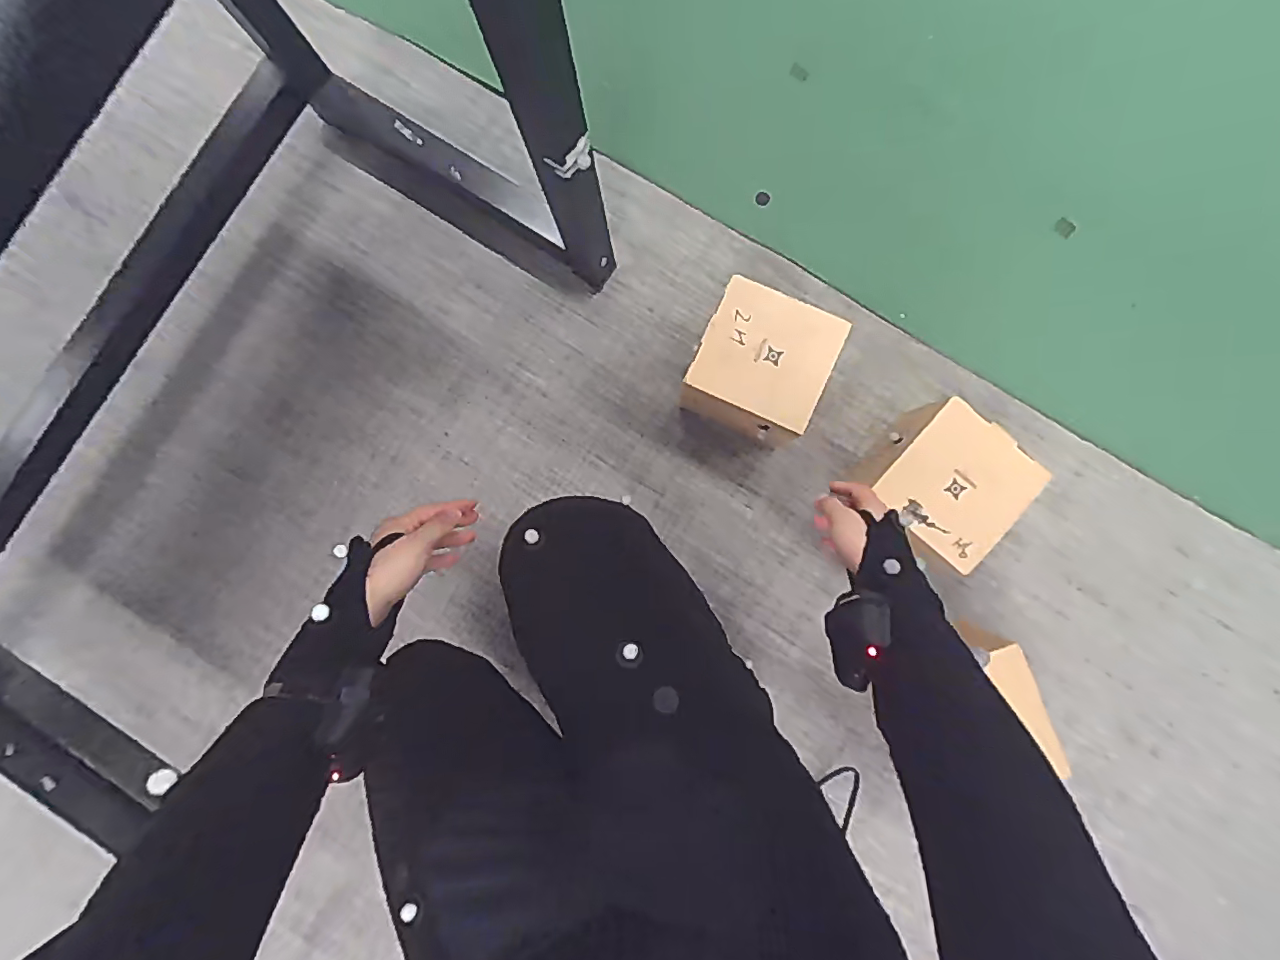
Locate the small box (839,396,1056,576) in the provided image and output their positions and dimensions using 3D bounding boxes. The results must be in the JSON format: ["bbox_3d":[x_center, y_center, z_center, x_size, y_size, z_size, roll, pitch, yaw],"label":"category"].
[{"bbox_3d":[0.419,0.009,0.772,0.168,0.176,0.179,42,90,3],"label":"small box"}]

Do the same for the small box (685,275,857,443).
[{"bbox_3d":[0.179,-0.163,0.793,0.179,0.176,0.168,25,88,4],"label":"small box"}]

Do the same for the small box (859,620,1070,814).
[{"bbox_3d":[0.437,0.317,0.758,0.168,0.176,0.179,-19,86,2],"label":"small box"}]
